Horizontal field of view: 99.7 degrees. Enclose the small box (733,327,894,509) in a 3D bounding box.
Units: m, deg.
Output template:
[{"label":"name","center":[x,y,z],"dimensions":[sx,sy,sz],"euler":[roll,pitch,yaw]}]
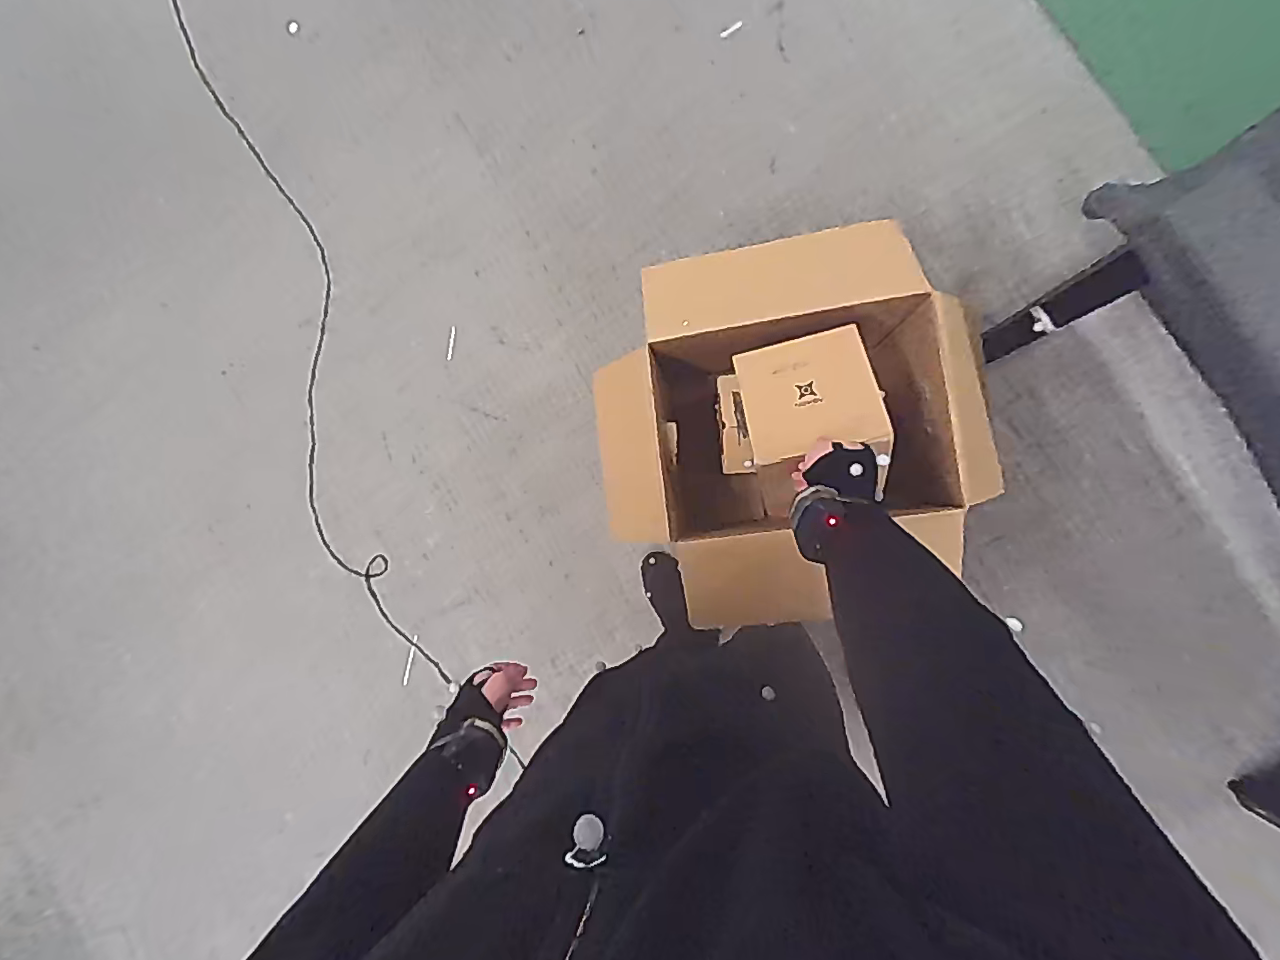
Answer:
[{"label":"small box","center":[0.236,-0.073,0.750],"dimensions":[0.168,0.176,0.179],"euler":[-13,60,12]}]
